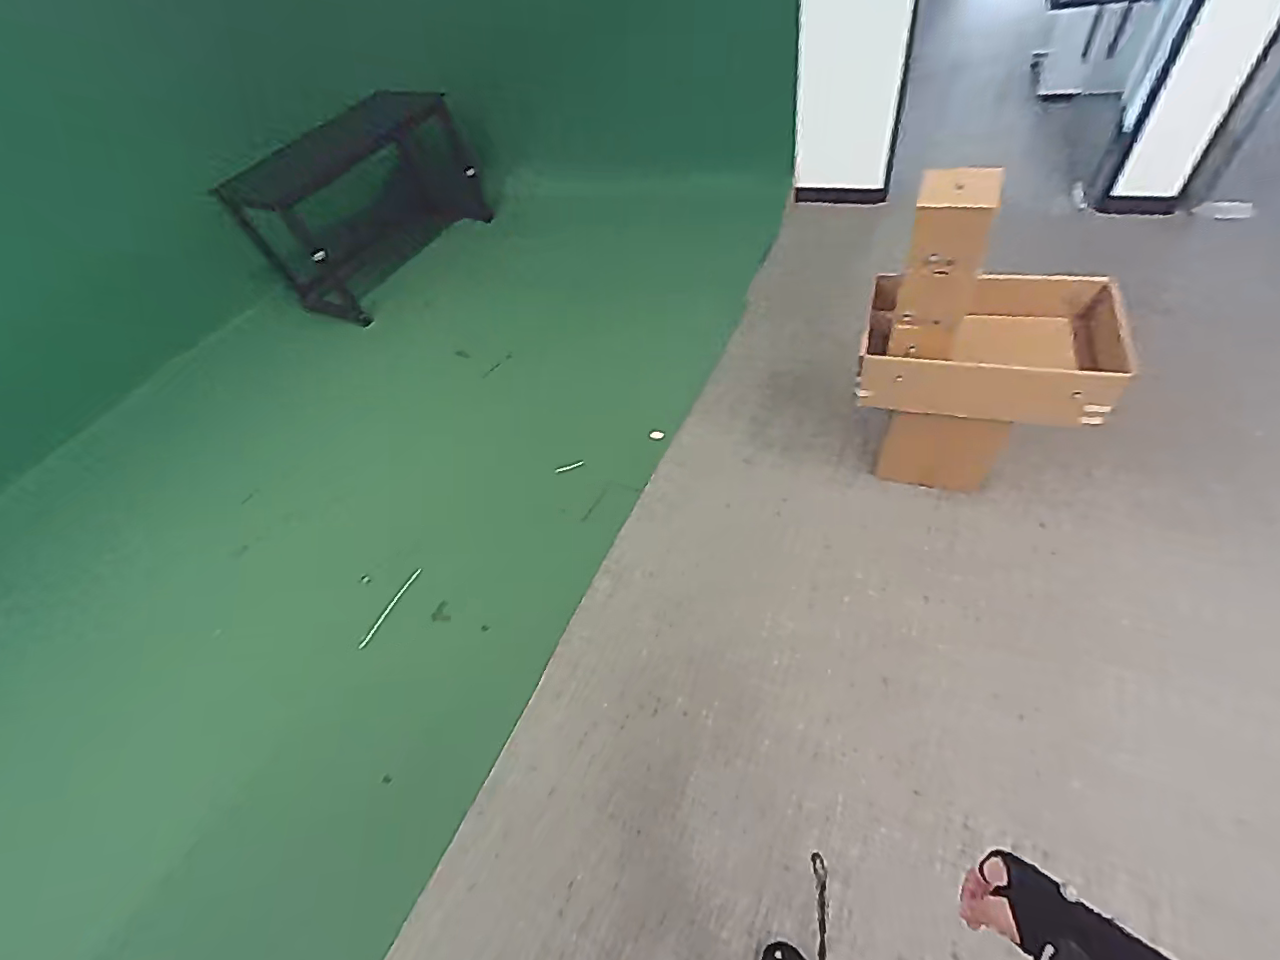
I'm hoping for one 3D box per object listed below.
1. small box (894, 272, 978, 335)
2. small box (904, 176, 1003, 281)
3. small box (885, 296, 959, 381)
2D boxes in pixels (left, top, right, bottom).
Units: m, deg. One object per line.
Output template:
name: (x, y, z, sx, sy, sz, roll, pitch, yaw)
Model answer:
small box: (0.783, -0.506, 1.430, 0.168, 0.176, 0.179, 14, 56, 22)
small box: (0.752, -0.609, 1.307, 0.168, 0.176, 0.179, 14, 57, 23)
small box: (0.811, -0.406, 1.557, 0.168, 0.176, 0.179, 10, 55, 20)
